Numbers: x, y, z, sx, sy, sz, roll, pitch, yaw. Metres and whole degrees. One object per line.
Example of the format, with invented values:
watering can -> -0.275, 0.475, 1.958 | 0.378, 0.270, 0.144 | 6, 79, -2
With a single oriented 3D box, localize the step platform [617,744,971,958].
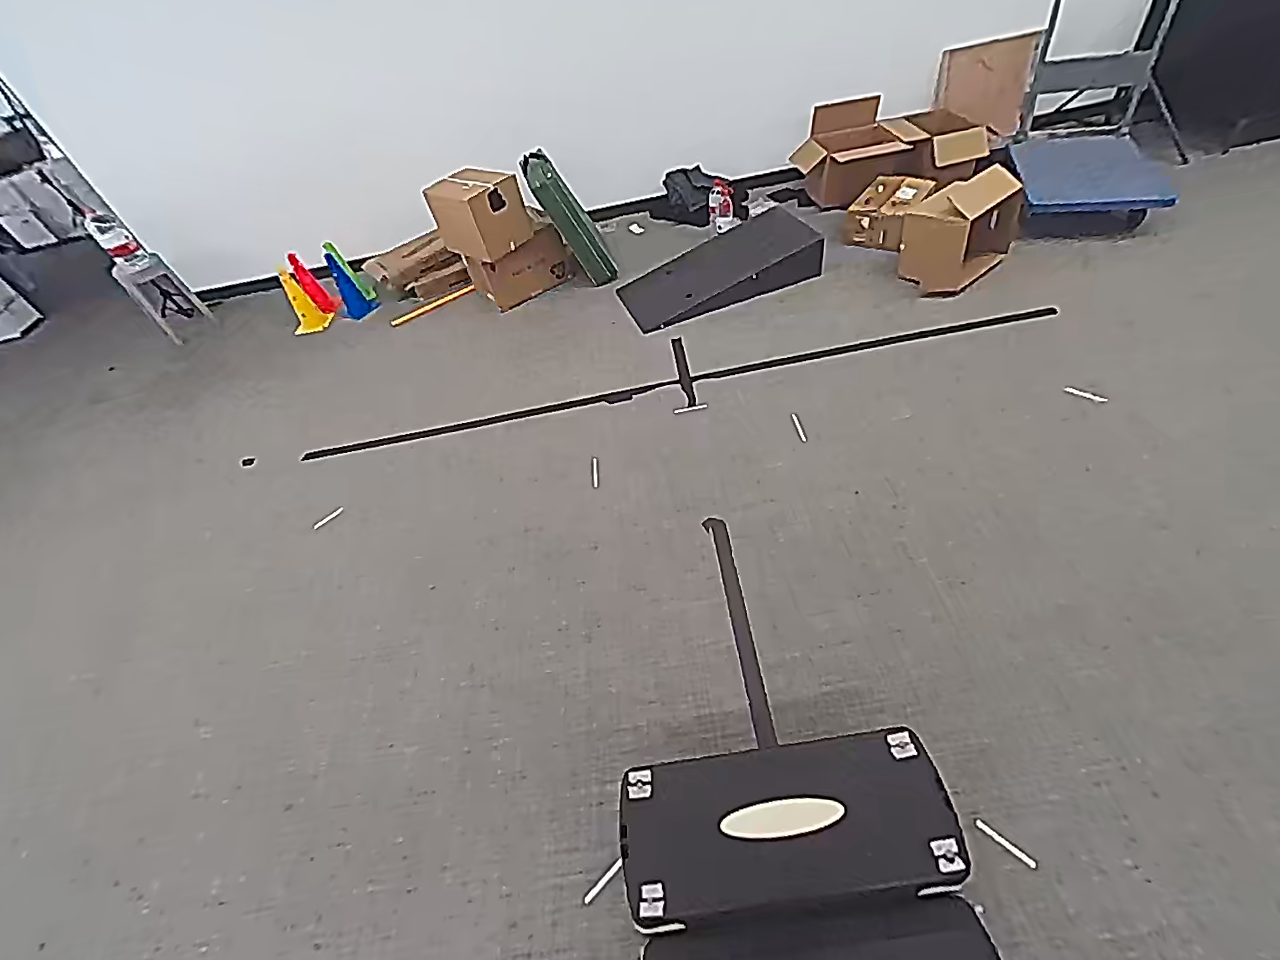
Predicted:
step platform -> 0.293, 0.771, 1.137 | 0.684, 0.204, 0.286 | -11, 47, 2
